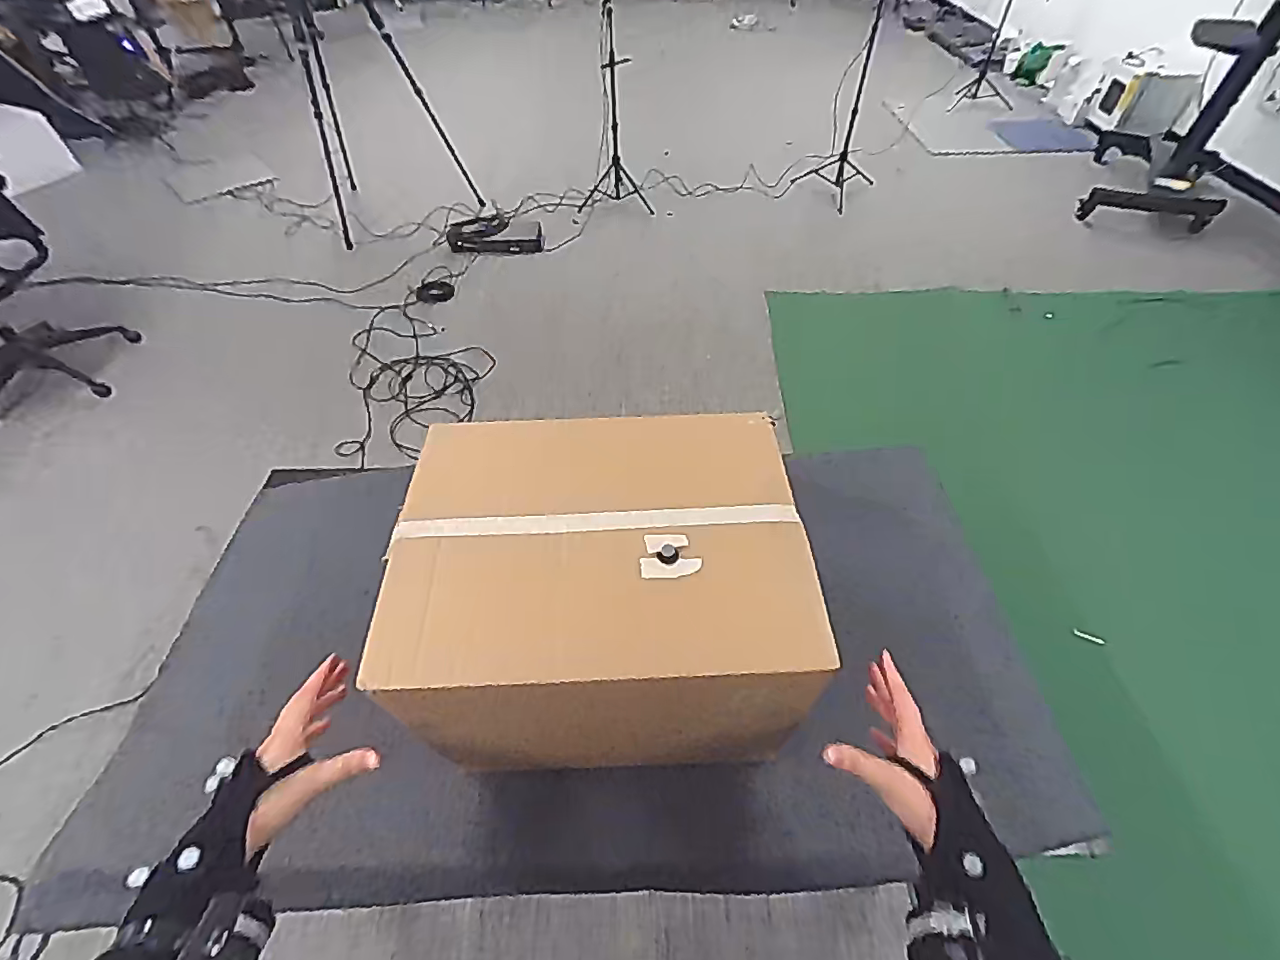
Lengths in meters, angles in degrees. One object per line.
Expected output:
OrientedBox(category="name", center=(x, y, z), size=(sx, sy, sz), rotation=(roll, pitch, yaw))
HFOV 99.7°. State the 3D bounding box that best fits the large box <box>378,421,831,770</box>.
OrientedBox(category="large box", center=(-0.037, 0.148, 0.675), size=(0.408, 0.320, 0.320), rotation=(-2, 51, -1))
